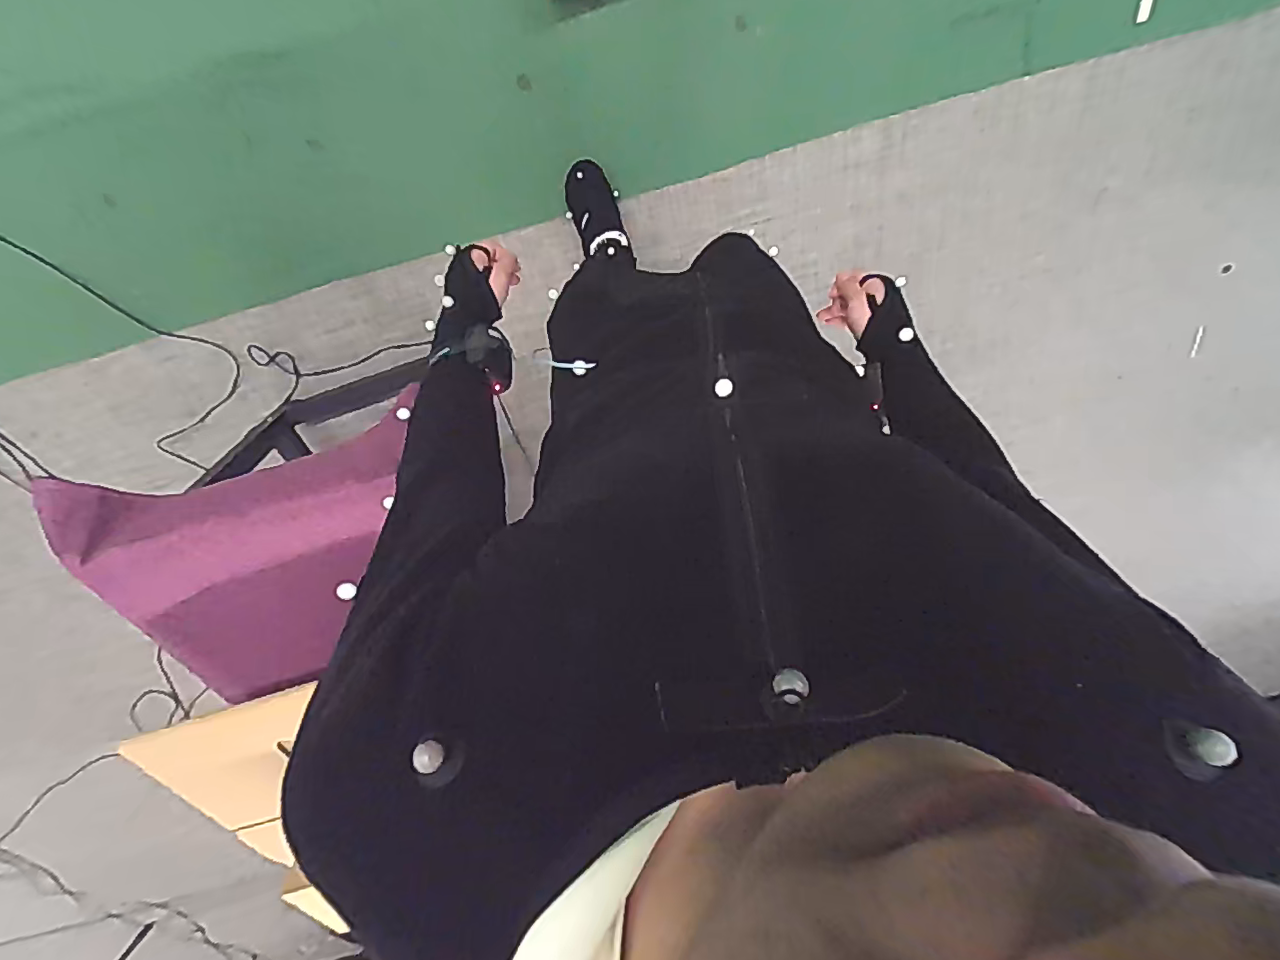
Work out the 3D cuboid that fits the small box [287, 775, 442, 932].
[{"bbox_3d":[-0.478,0.668,0.978,0.179,0.176,0.168,-18,121,5],"label":"small box"}]
